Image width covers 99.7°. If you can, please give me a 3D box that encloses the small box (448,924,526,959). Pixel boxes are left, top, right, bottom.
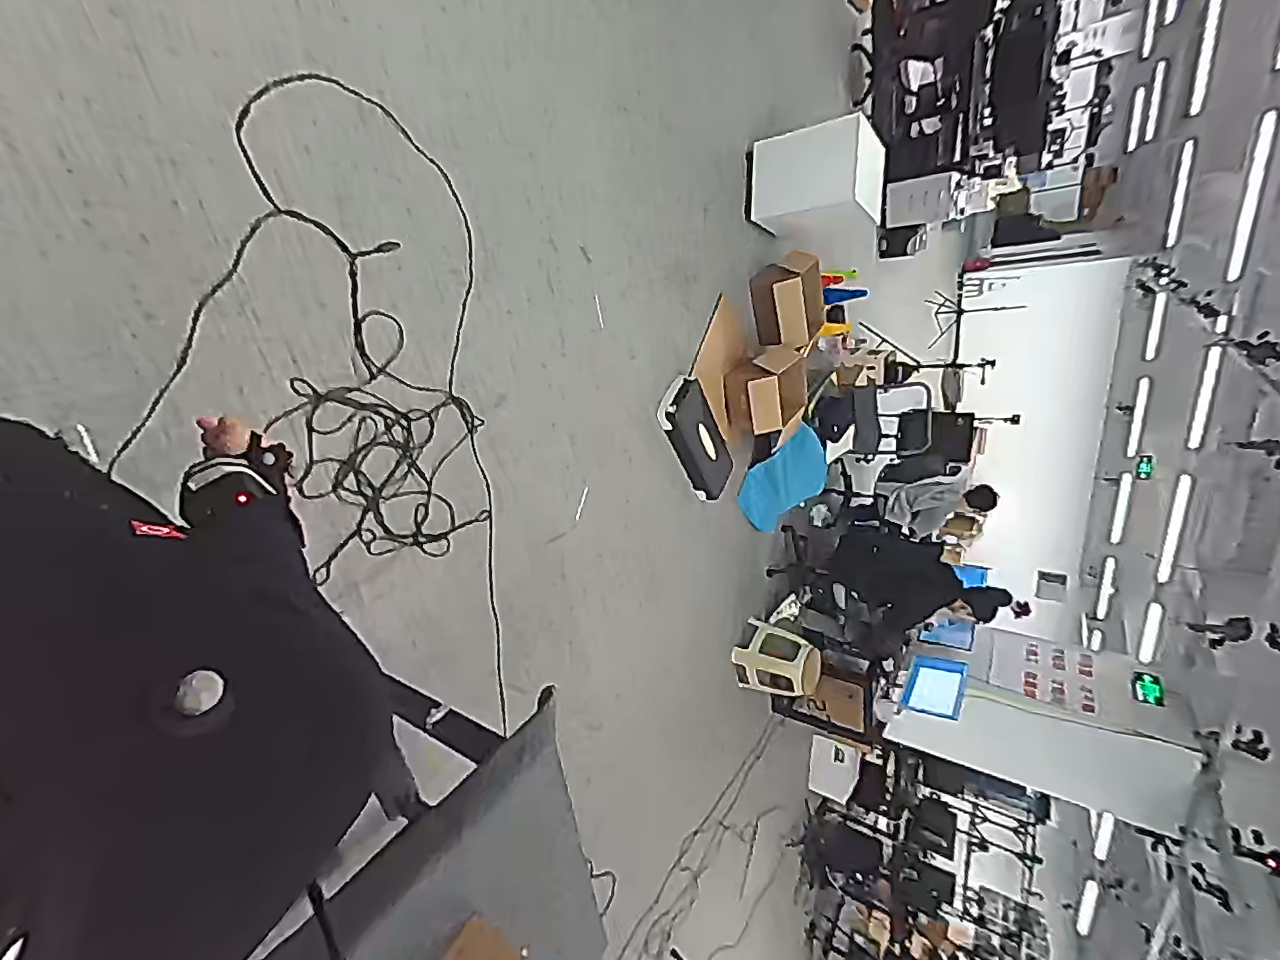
[{"bbox_3d":[-0.236,0.848,0.839,0.168,0.176,0.179,-41,128,-42],"label":"small box"}]
